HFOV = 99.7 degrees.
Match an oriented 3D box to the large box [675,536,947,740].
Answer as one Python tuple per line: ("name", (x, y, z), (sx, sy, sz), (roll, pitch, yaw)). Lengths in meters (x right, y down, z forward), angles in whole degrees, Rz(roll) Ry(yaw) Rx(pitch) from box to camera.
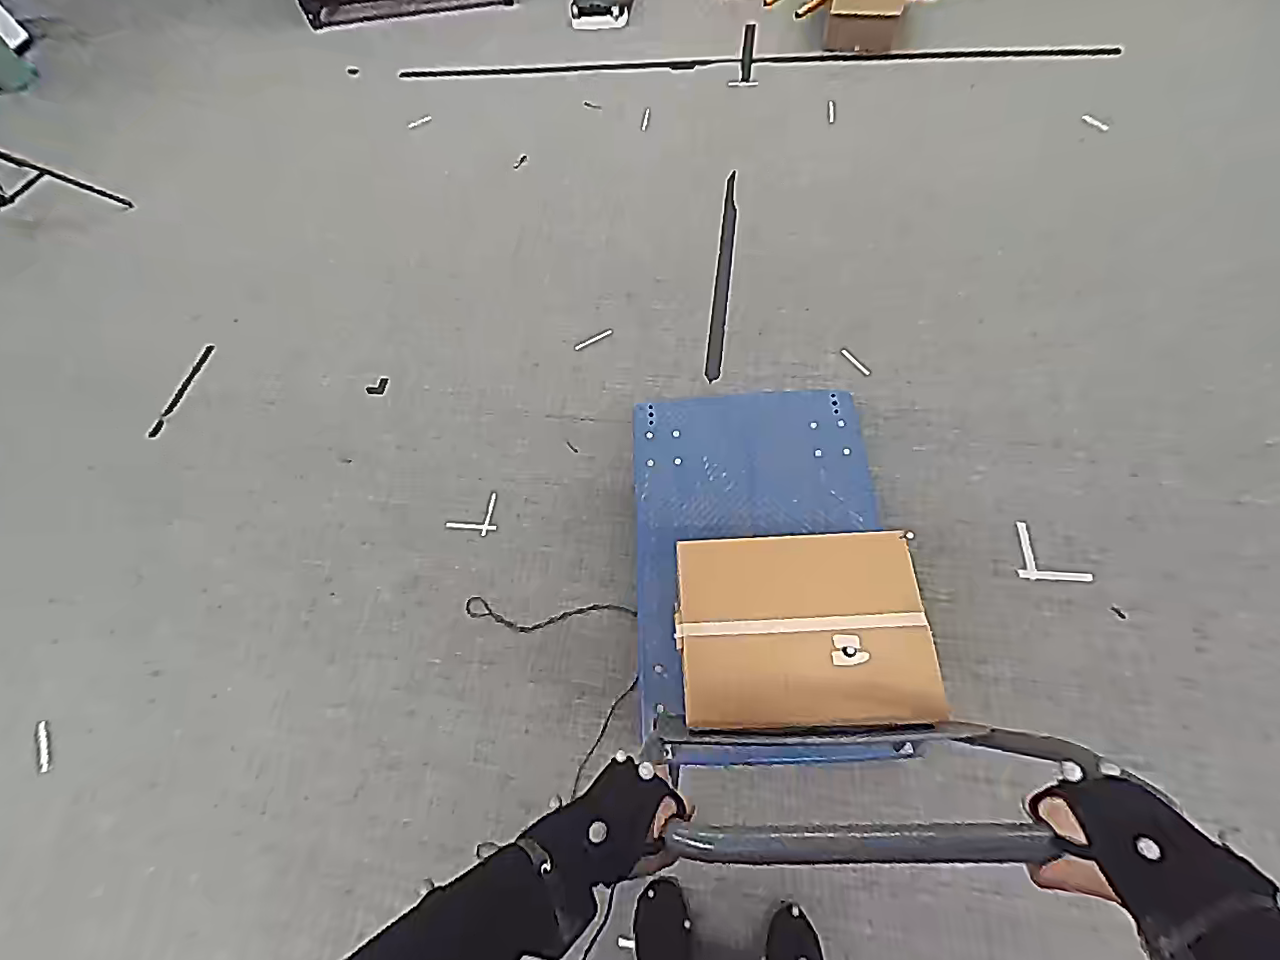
("large box", (0.278, 0.313, 1.031), (0.408, 0.320, 0.320), (-3, 66, 3))
